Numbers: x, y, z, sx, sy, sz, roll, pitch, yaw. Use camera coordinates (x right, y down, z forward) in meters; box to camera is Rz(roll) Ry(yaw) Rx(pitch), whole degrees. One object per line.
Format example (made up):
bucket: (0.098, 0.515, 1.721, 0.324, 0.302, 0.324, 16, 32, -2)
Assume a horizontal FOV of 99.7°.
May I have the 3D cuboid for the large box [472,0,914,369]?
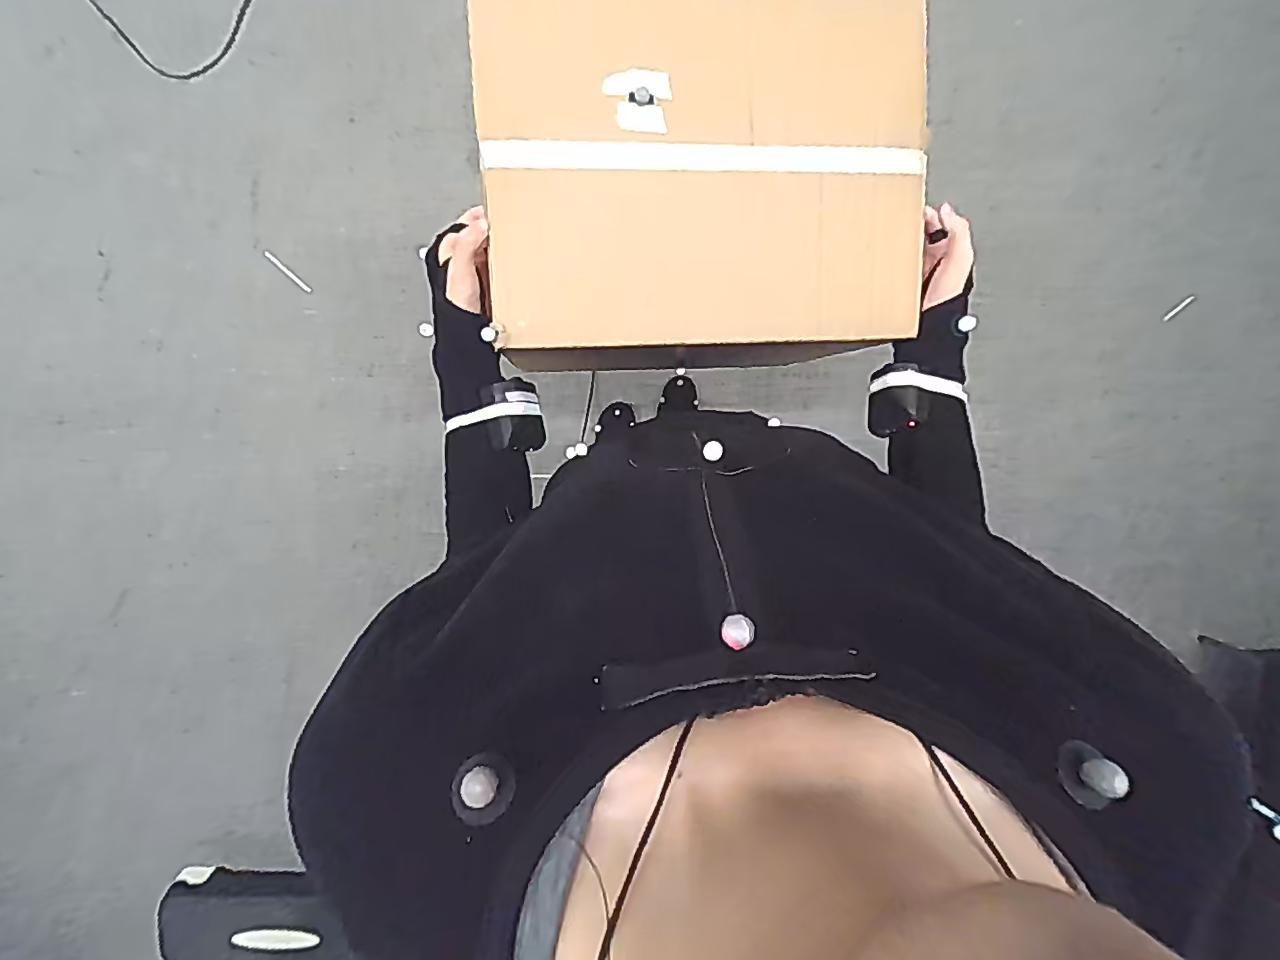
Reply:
large box: (0.045, -0.302, 0.640, 0.408, 0.320, 0.320, -3, 97, -7)
